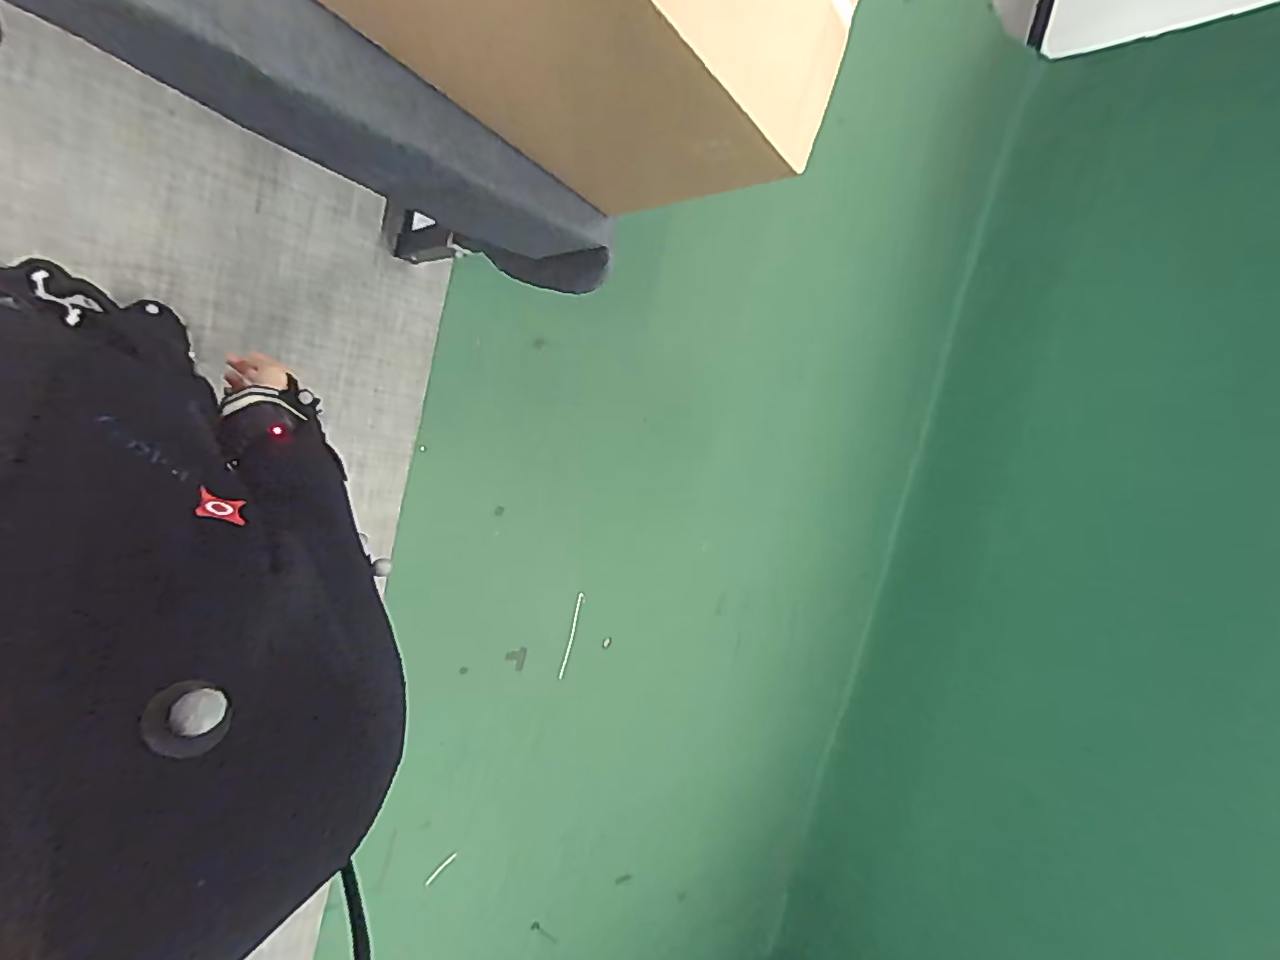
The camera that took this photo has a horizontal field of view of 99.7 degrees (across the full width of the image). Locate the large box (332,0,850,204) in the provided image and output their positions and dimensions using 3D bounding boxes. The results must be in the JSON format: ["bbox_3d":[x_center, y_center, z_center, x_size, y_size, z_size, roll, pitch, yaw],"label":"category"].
[{"bbox_3d":[-0.035,-0.530,0.510,0.408,0.320,0.320,15,93,-45],"label":"large box"}]
